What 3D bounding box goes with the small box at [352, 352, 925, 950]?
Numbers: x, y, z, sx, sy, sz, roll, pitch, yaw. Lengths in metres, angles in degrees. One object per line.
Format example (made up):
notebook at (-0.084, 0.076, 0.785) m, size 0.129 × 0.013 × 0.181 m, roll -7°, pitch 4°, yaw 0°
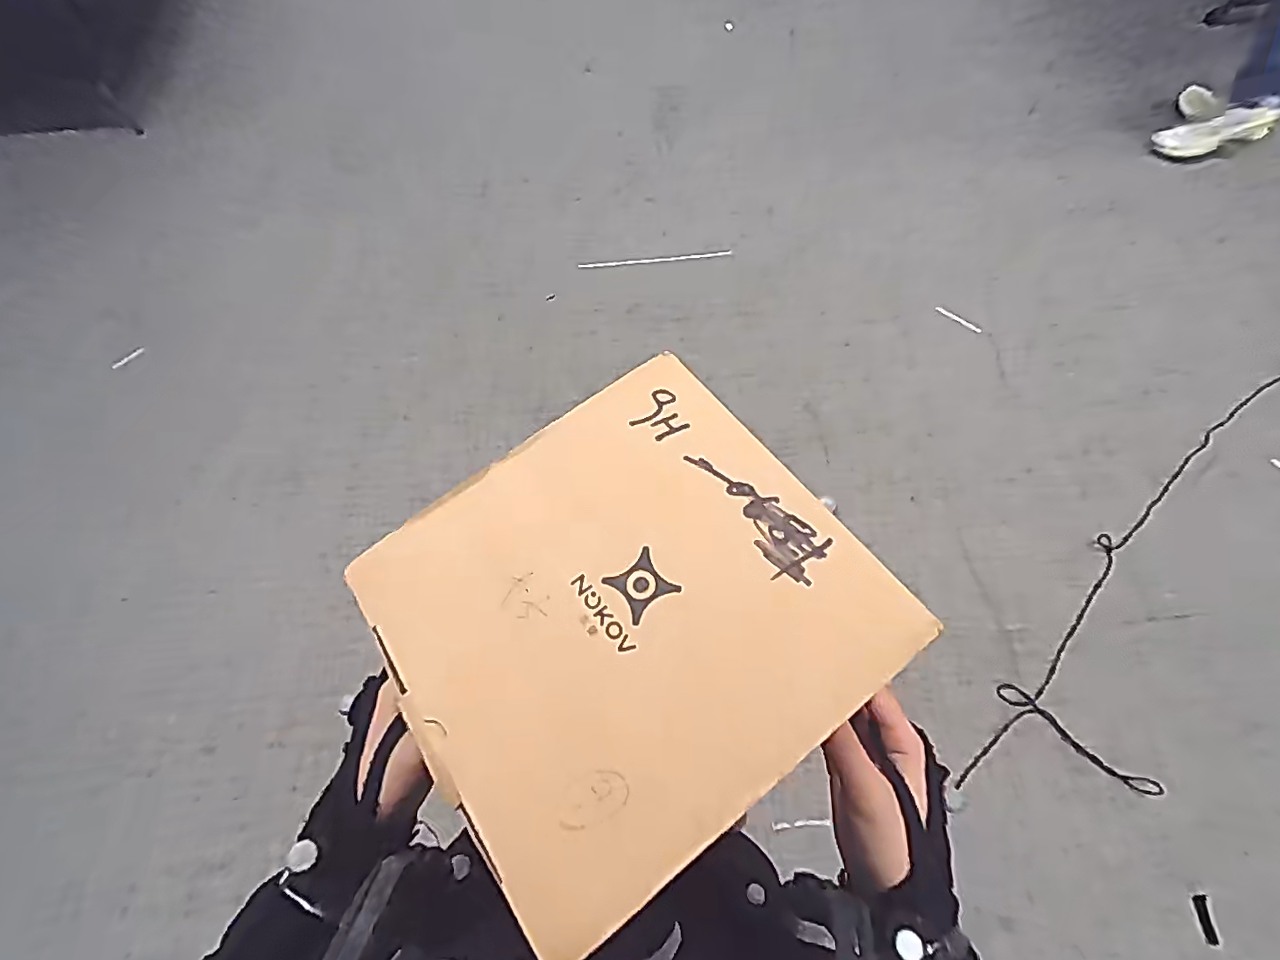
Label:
small box at (0.000, 0.077, 0.285) m, size 0.179 × 0.176 × 0.168 m, roll -36°, pitch 67°, yaw -10°
